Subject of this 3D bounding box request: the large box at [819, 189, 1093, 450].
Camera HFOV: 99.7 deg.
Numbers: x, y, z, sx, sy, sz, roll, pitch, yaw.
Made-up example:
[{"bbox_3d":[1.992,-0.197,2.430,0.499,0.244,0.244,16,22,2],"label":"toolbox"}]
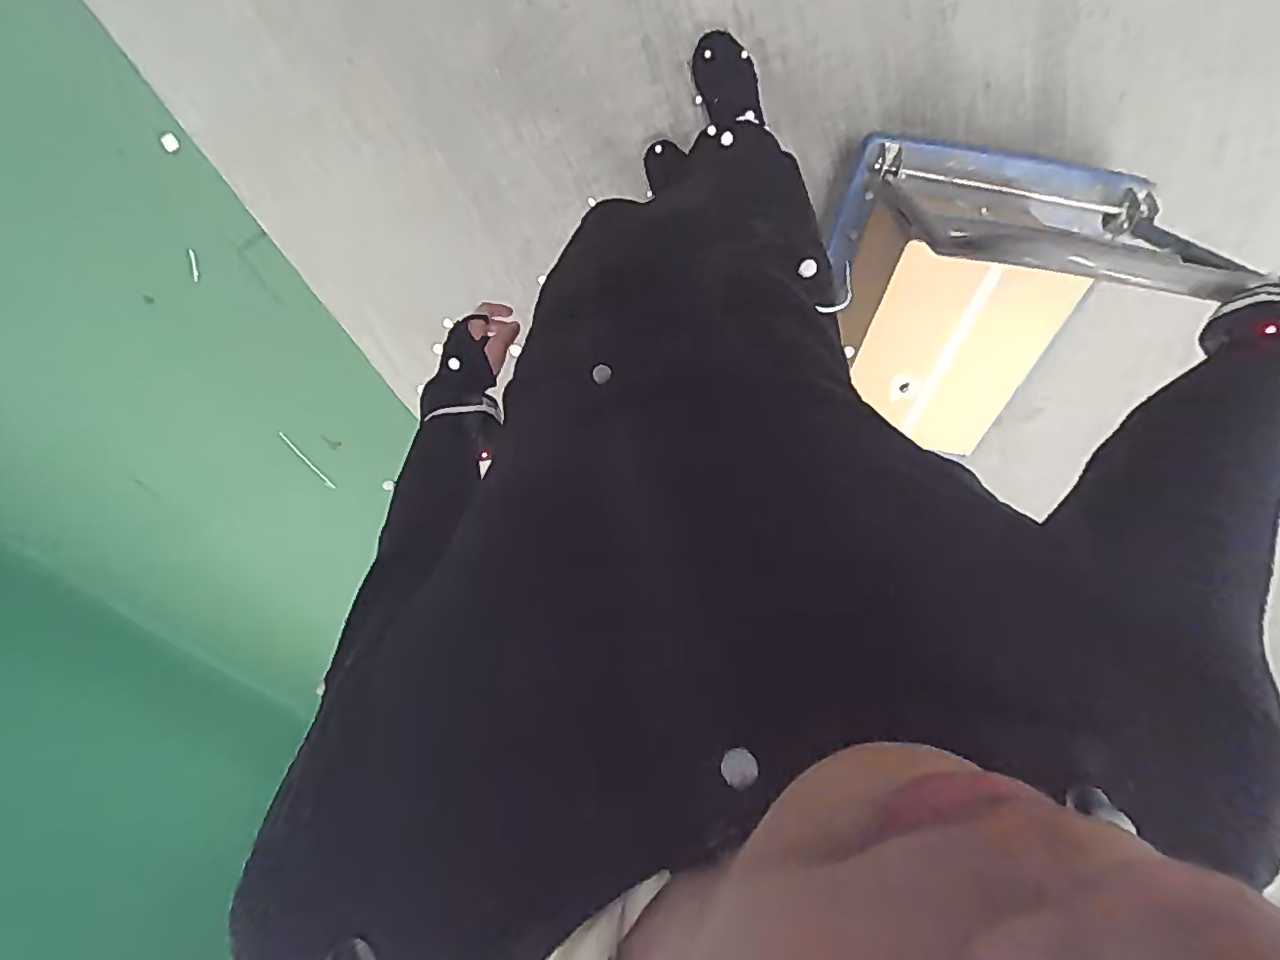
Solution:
[{"bbox_3d":[0.601,-0.334,1.131,0.320,0.320,0.408,12,134,3],"label":"large box"}]
